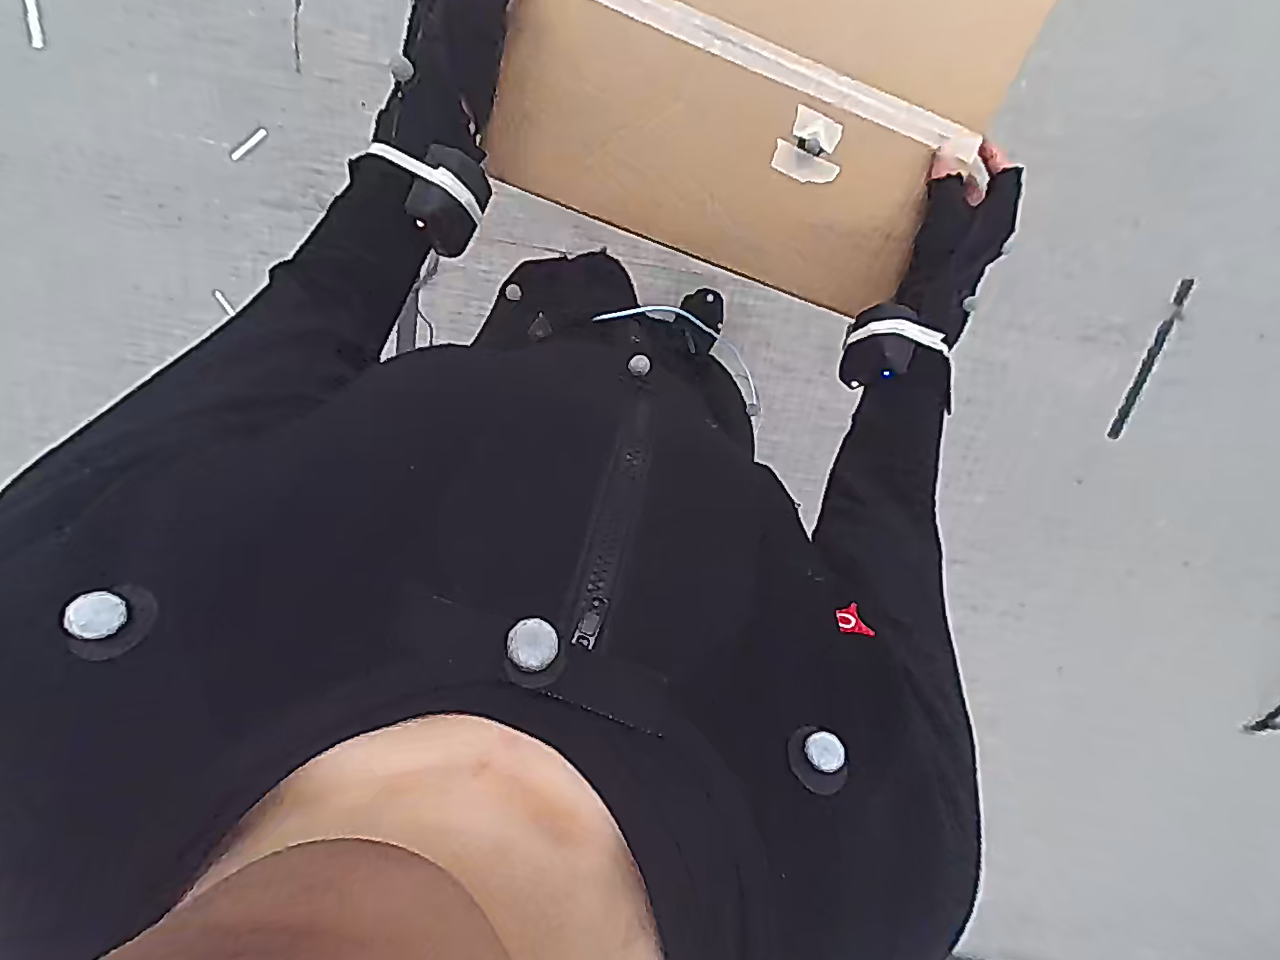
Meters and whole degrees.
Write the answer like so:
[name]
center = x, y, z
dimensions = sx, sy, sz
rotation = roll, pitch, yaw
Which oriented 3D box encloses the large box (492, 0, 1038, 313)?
[large box]
center = 0.097, -0.415, 0.587
dimensions = 0.408, 0.320, 0.320
rotation = 17, 115, -8
